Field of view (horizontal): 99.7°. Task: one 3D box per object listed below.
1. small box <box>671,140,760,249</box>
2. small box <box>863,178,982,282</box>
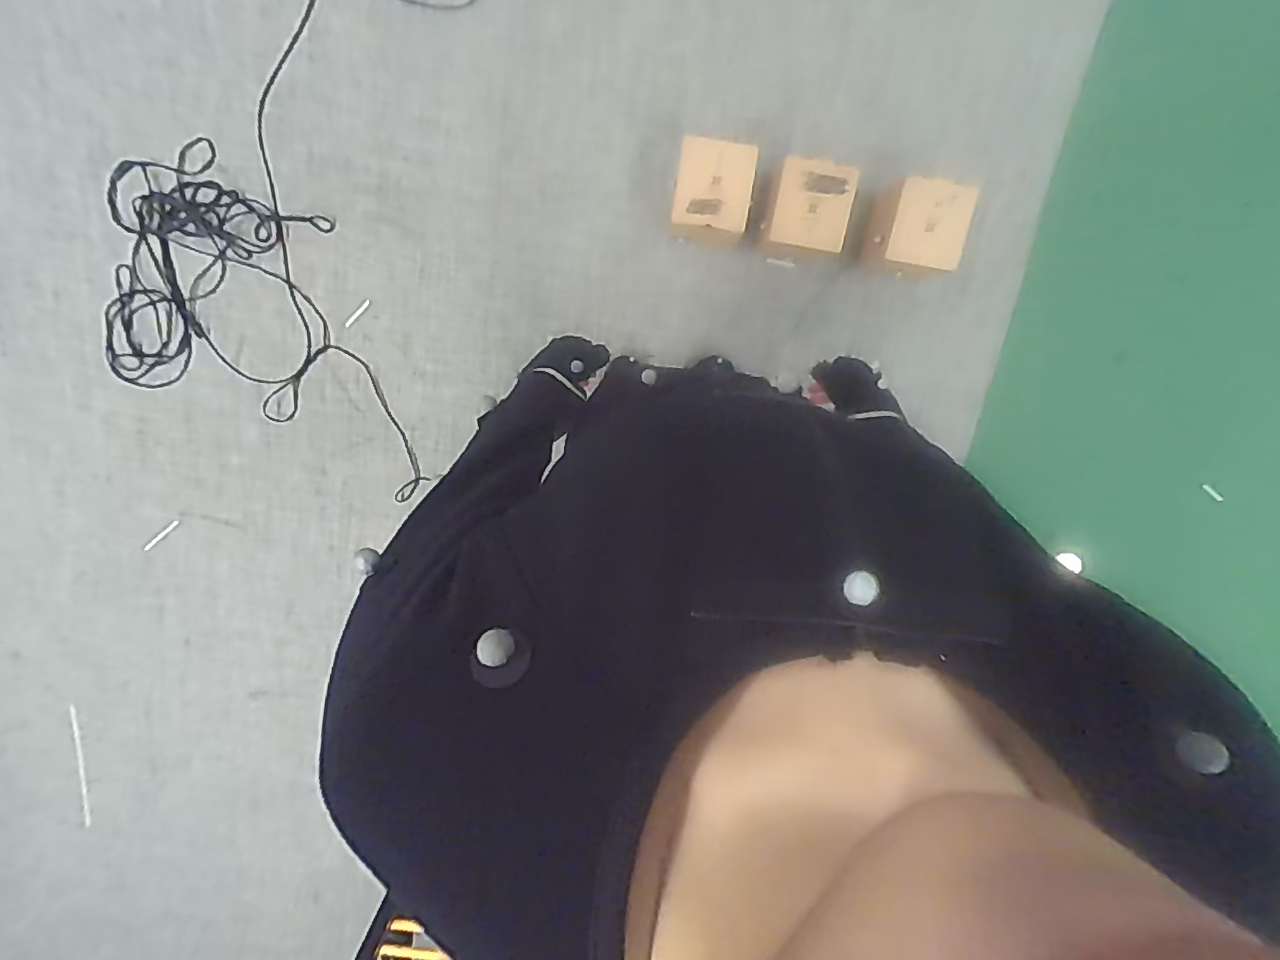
[{"bbox_3d":[0.167,-0.645,1.245,0.168,0.176,0.179,9,102,0],"label":"small box"},{"bbox_3d":[0.641,-0.568,1.254,0.168,0.176,0.179,10,103,-2],"label":"small box"}]
